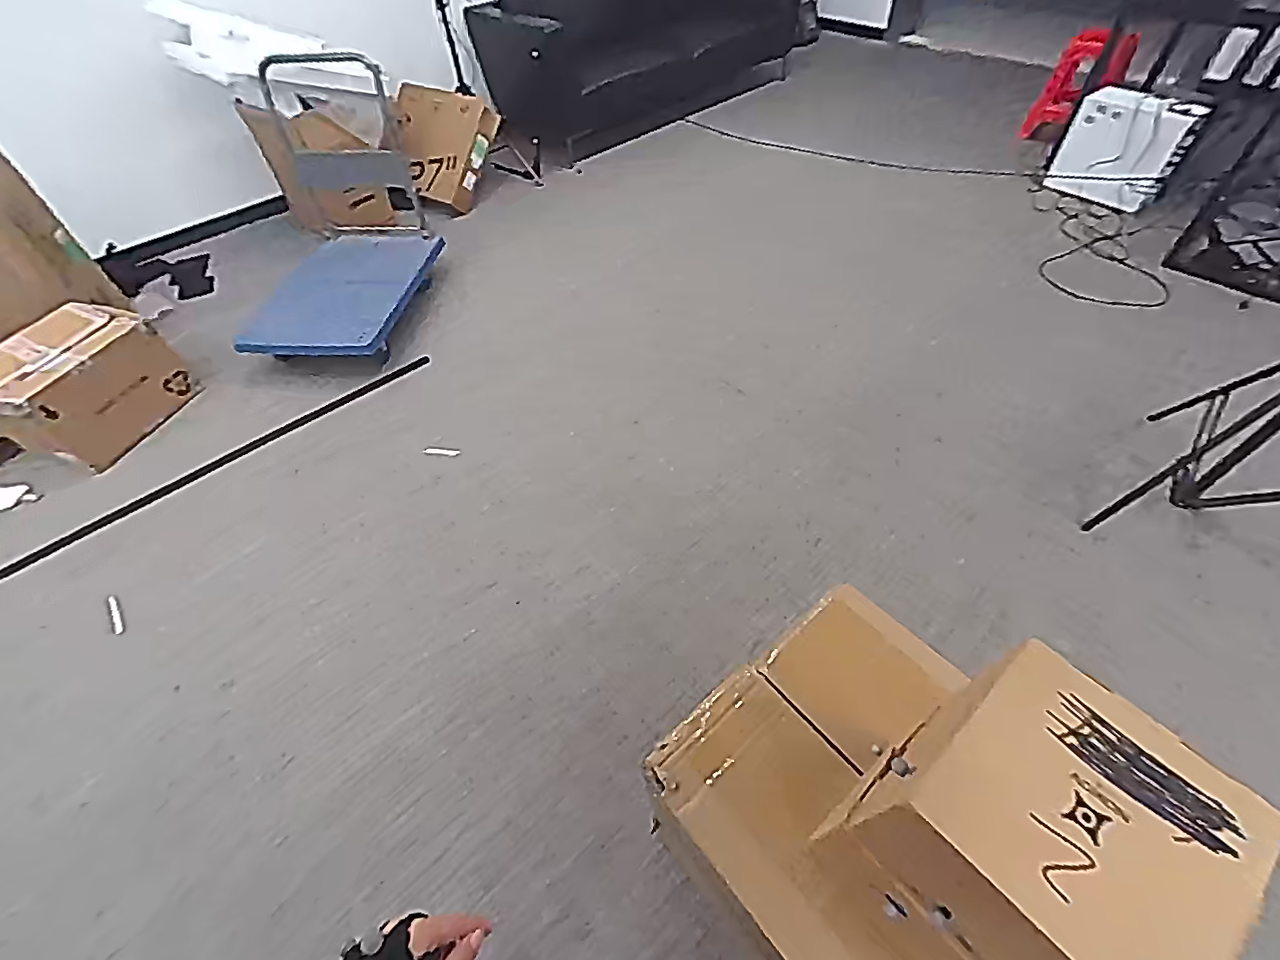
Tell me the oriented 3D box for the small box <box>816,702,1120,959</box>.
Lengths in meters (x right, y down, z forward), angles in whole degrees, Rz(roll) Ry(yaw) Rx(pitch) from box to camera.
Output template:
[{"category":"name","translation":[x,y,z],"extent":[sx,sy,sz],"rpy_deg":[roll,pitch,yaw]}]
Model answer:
[{"category":"small box","translation":[0.304,0.368,0.543],"extent":[0.168,0.176,0.179],"rpy_deg":[-35,57,-21]}]
